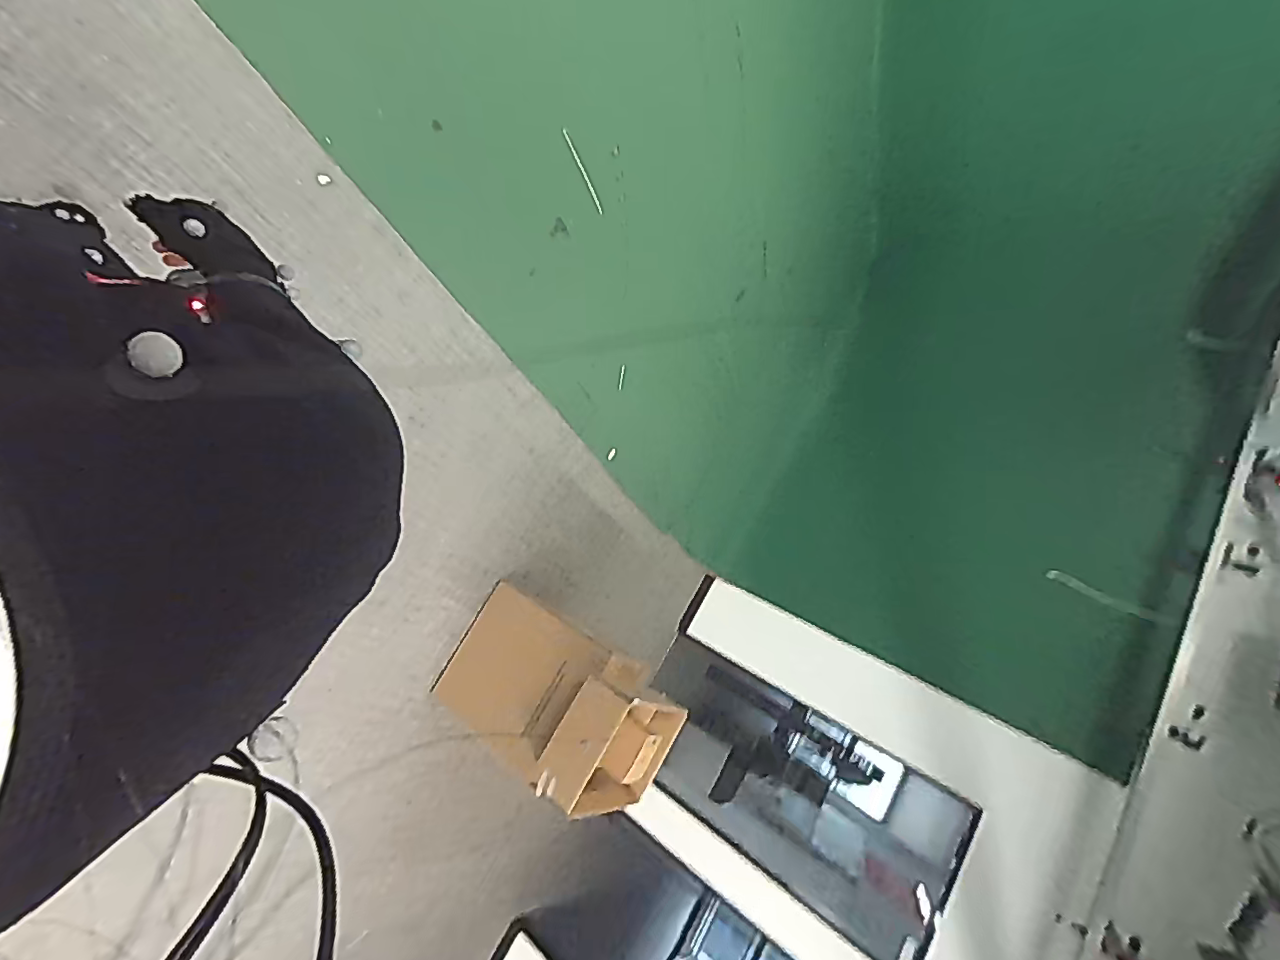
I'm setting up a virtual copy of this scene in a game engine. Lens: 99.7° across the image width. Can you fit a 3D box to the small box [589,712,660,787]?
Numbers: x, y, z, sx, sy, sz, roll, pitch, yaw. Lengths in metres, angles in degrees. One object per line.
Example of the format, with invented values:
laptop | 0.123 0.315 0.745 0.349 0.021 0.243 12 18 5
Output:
small box | -0.061 0.961 1.936 0.179 0.176 0.168 -59 150 -10
